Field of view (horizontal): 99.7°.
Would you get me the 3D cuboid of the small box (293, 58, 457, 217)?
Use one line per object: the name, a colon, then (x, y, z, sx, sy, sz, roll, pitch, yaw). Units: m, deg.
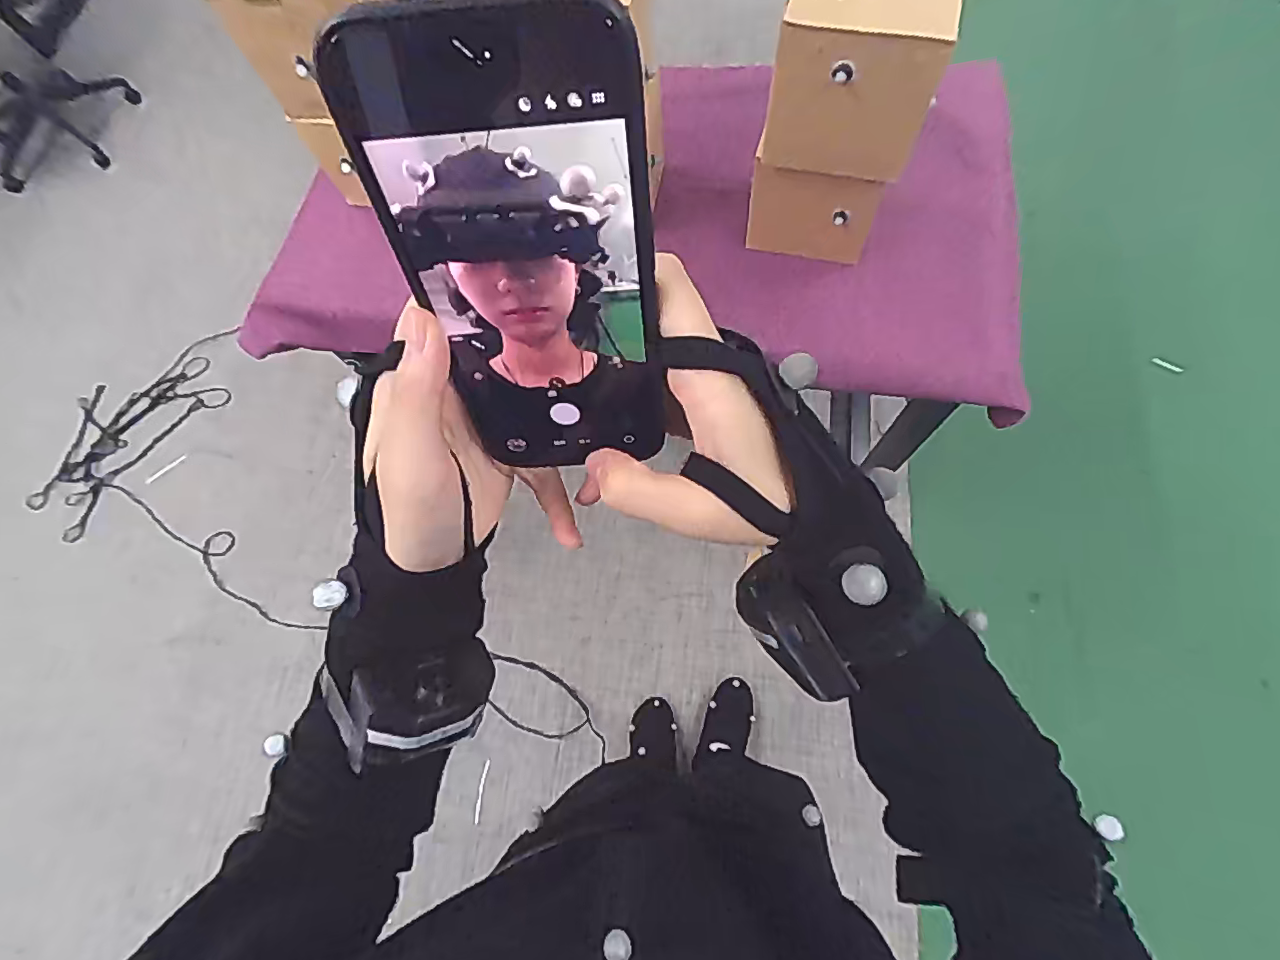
small box: (-0.441, -0.586, 0.935, 0.168, 0.176, 0.179, 9, 71, 9)

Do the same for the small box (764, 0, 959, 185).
small box: (0.256, -0.490, 0.651, 0.179, 0.176, 0.168, 14, 71, 10)

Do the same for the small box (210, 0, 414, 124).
small box: (-0.456, -0.651, 0.784, 0.168, 0.176, 0.179, 4, 71, 7)

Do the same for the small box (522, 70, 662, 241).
small box: (-0.063, -0.511, 0.866, 0.179, 0.176, 0.168, 8, 71, 9)

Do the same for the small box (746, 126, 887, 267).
small box: (0.267, -0.448, 0.810, 0.179, 0.176, 0.168, 14, 71, 12)
